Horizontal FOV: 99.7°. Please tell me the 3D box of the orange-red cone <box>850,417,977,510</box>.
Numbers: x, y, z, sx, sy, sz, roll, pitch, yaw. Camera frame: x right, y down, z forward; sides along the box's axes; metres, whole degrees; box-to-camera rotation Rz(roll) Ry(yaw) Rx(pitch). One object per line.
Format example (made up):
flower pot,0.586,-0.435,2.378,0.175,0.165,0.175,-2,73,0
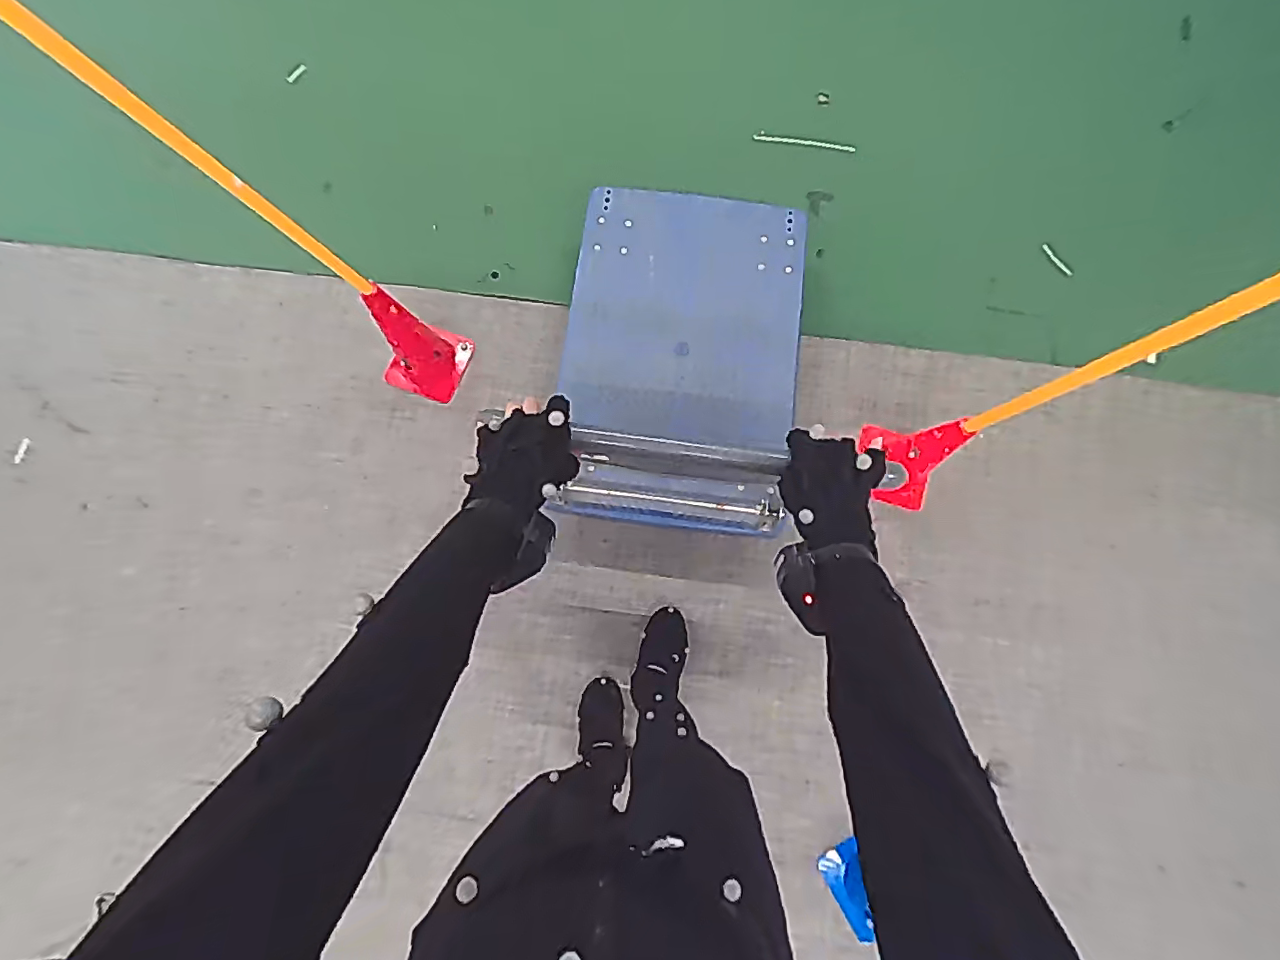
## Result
orange-red cone,0.674,-0.071,1.277,0.198,0.360,0.199,18,78,4
